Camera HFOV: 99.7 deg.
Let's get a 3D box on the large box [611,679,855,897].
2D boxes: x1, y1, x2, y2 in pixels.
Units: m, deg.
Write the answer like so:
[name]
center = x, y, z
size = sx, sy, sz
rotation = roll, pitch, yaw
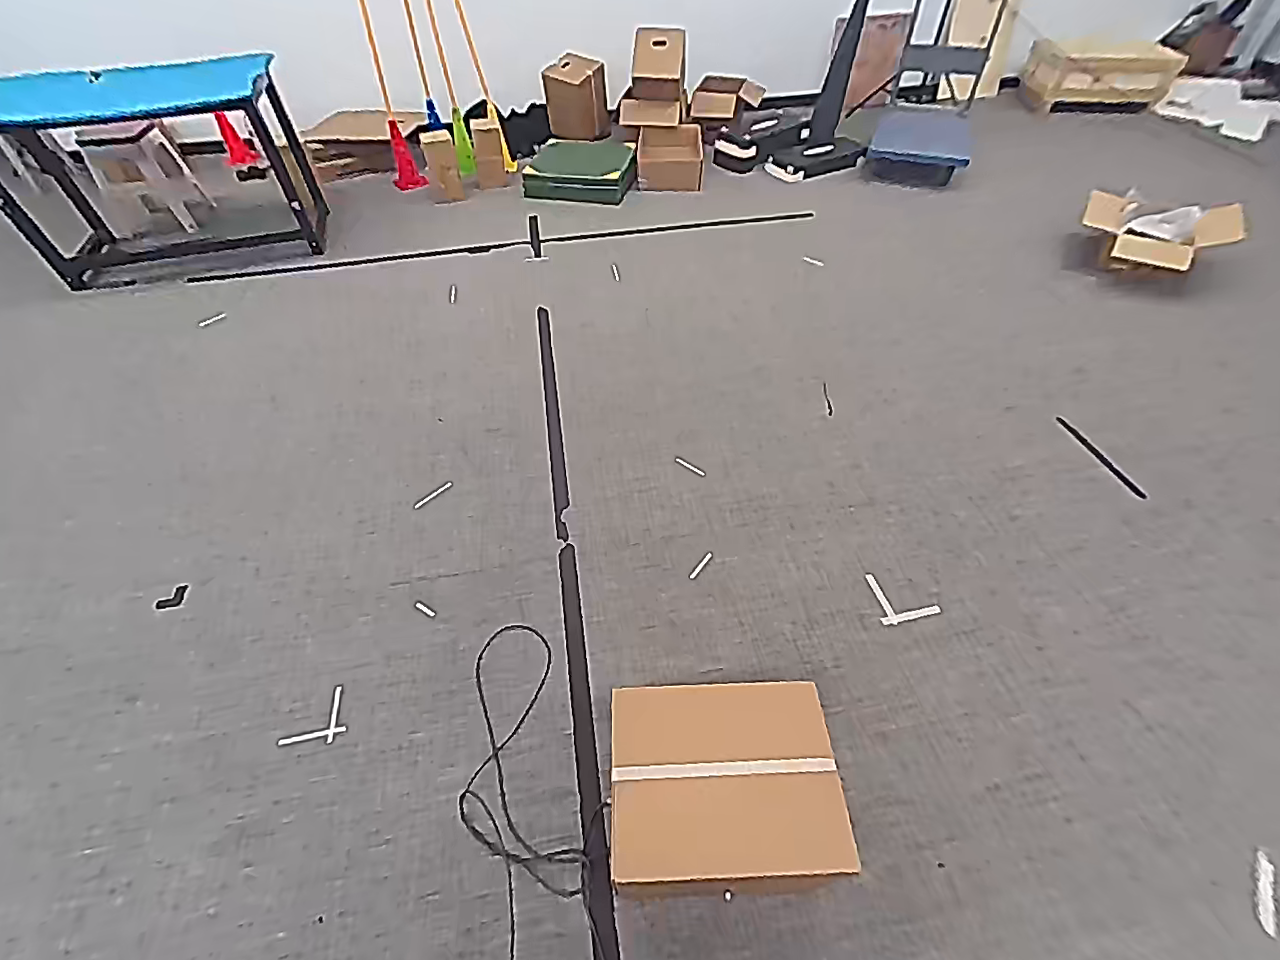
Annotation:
[large box]
center = 0.148, 0.620, 1.087
size = 0.408, 0.320, 0.320
rotation = -2, 49, -2
